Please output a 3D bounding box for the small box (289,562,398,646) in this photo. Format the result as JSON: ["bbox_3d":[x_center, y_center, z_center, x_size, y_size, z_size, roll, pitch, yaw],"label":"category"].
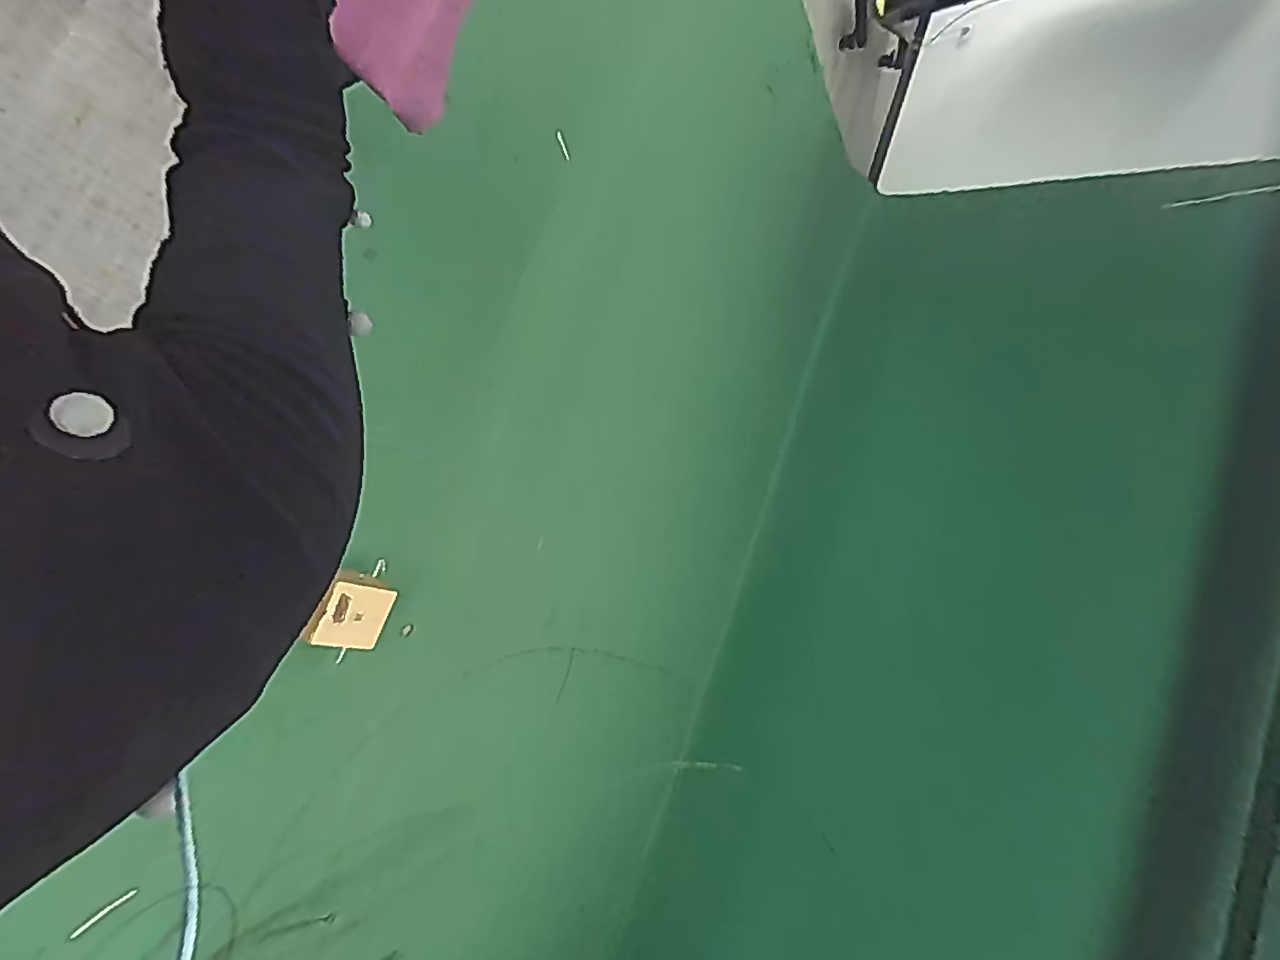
[{"bbox_3d":[-0.802,0.331,1.458,0.179,0.176,0.168,33,76,-53],"label":"small box"}]
